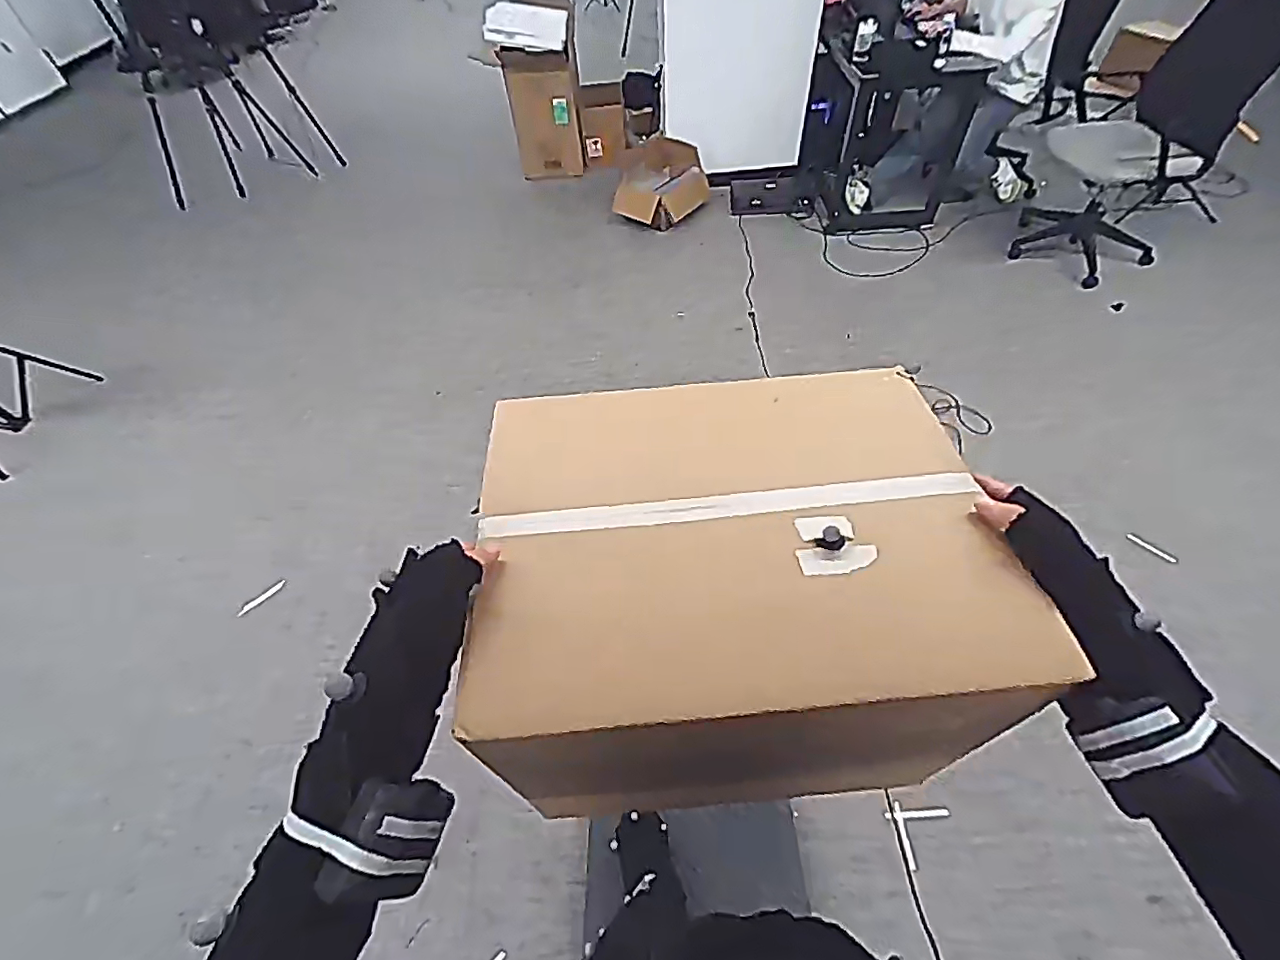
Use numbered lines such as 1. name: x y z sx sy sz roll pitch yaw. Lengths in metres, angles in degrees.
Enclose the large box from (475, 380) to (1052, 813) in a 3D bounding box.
1. large box: 0.077 0.126 0.569 0.408 0.320 0.320 -5 50 -2
